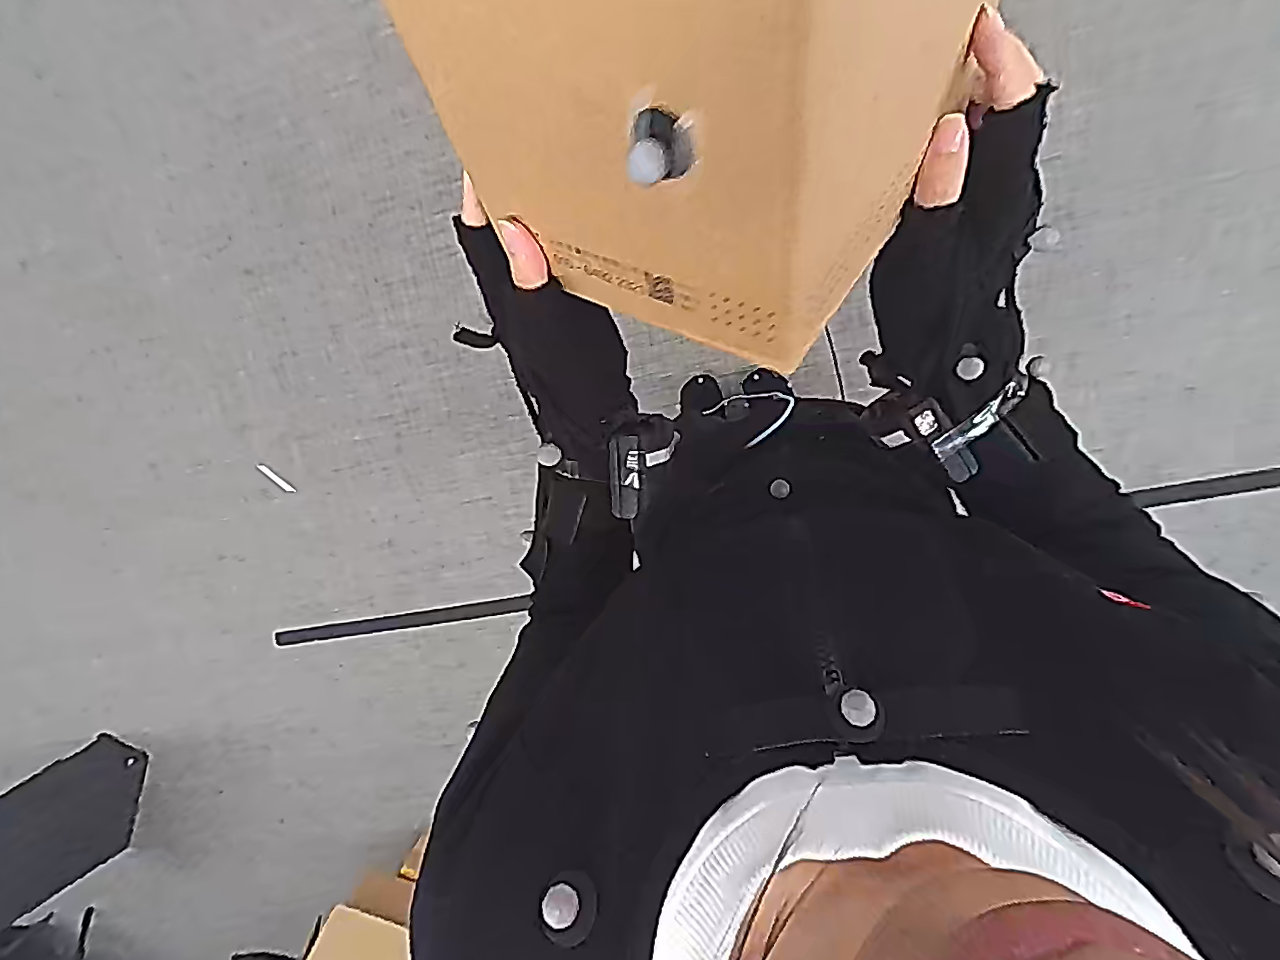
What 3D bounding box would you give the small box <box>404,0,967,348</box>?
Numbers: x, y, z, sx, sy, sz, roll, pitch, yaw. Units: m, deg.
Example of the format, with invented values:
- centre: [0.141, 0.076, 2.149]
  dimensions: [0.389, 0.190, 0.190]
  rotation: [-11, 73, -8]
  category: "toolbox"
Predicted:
- centre: [0.032, -0.188, 0.233]
  dimensions: [0.168, 0.176, 0.179]
  rotation: [27, 69, 25]
  category: "small box"
